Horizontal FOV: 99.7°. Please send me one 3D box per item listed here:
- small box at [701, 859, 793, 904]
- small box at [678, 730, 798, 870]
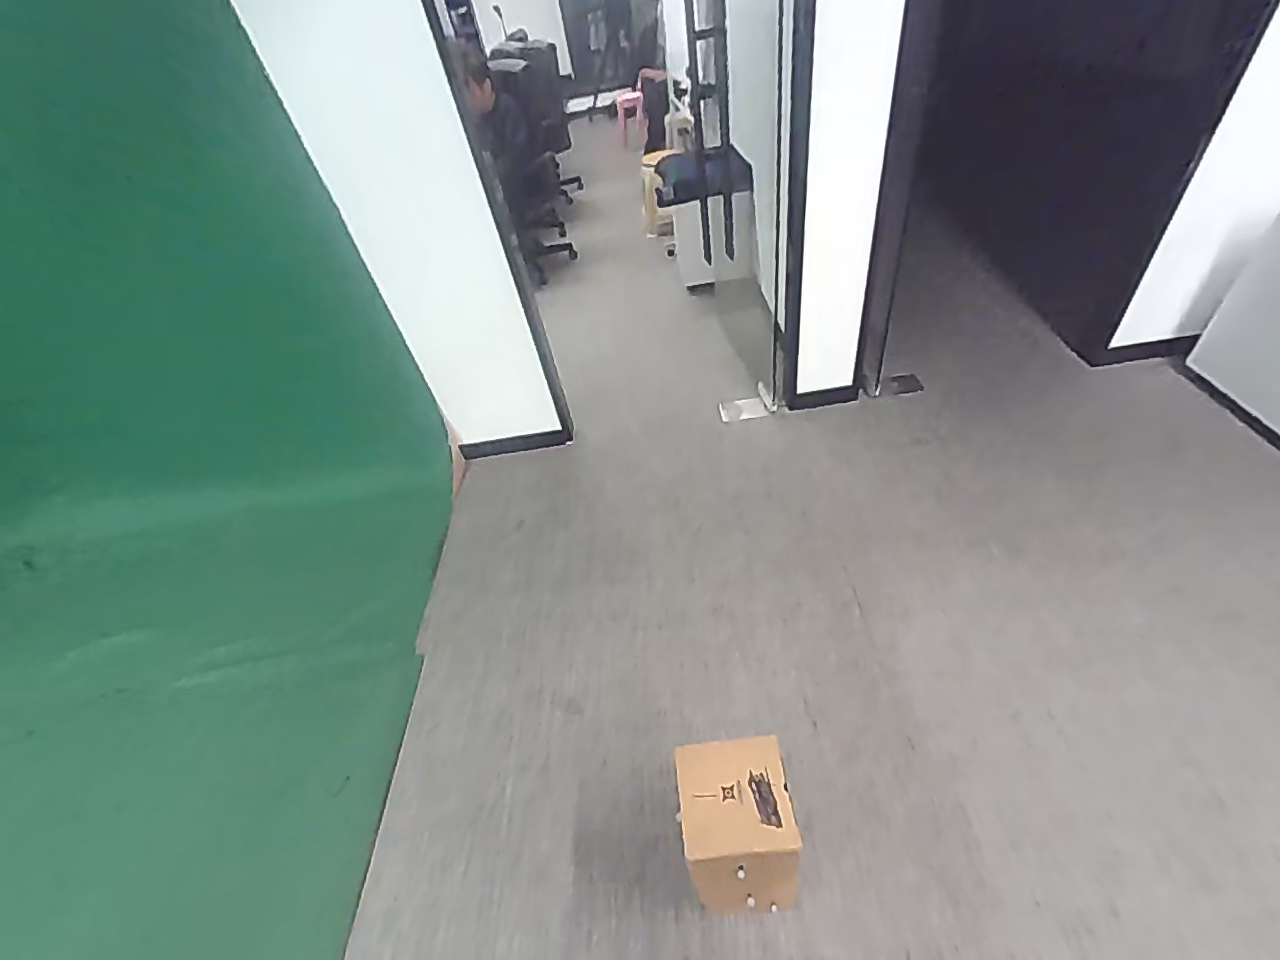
[{"bbox_3d":[0.217,0.776,1.142,0.179,0.176,0.168,-10,43,5],"label":"small box"},{"bbox_3d":[0.159,0.542,0.915,0.179,0.176,0.168,-6,42,7],"label":"small box"}]
